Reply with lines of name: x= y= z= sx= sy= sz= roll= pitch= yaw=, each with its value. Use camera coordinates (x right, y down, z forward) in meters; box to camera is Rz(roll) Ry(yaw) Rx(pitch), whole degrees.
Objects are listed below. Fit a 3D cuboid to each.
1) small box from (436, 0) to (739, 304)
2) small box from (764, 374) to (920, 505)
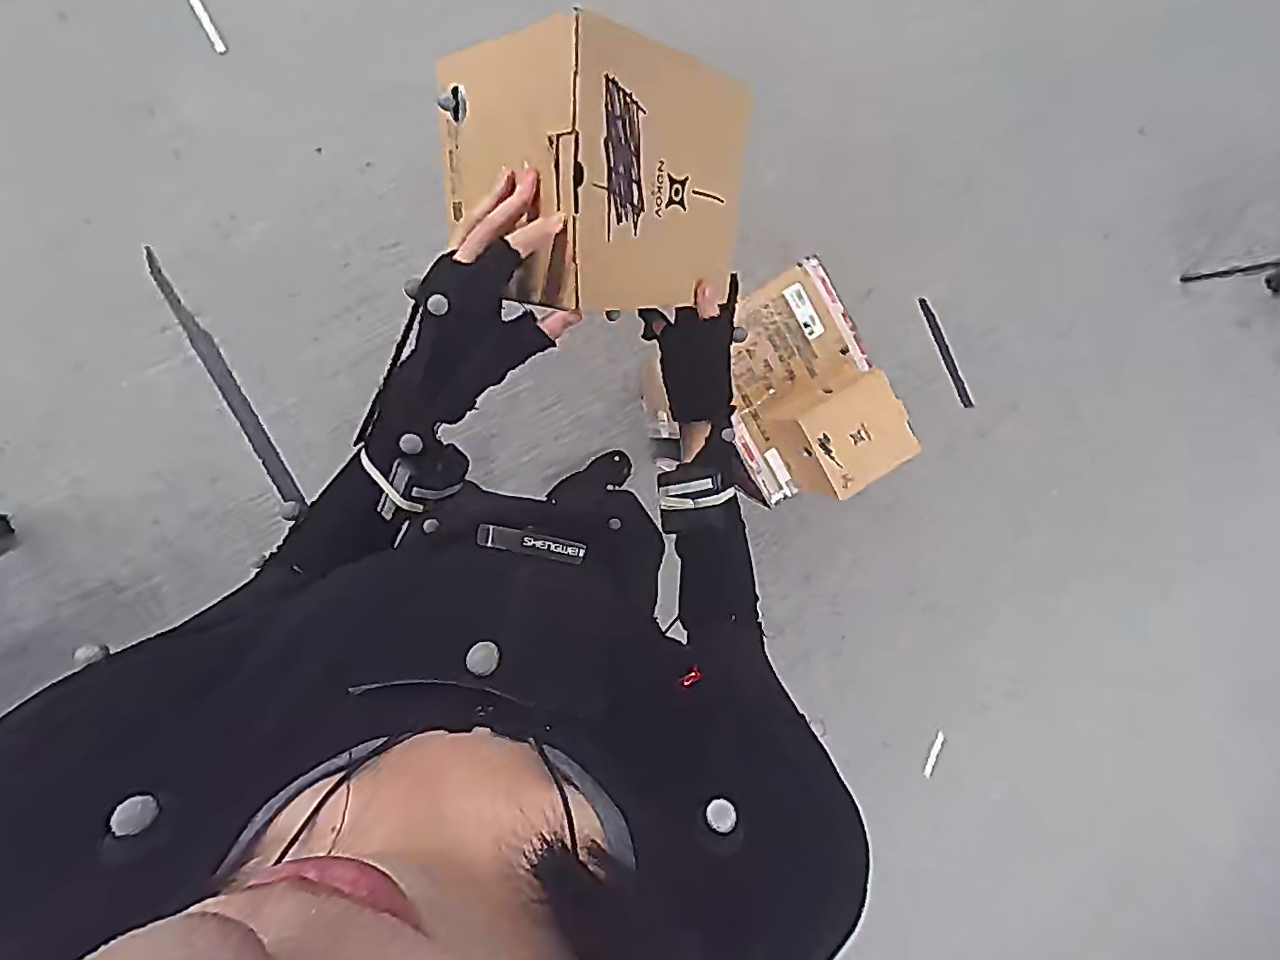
small box: x=-0.046 y=-0.234 z=0.432 sx=0.179 sy=0.176 sz=0.168 roll=-20 pitch=122 yaw=-42
small box: x=0.361 y=-0.076 z=0.994 sx=0.179 sy=0.176 sz=0.168 roll=-31 pitch=99 yaw=-6
